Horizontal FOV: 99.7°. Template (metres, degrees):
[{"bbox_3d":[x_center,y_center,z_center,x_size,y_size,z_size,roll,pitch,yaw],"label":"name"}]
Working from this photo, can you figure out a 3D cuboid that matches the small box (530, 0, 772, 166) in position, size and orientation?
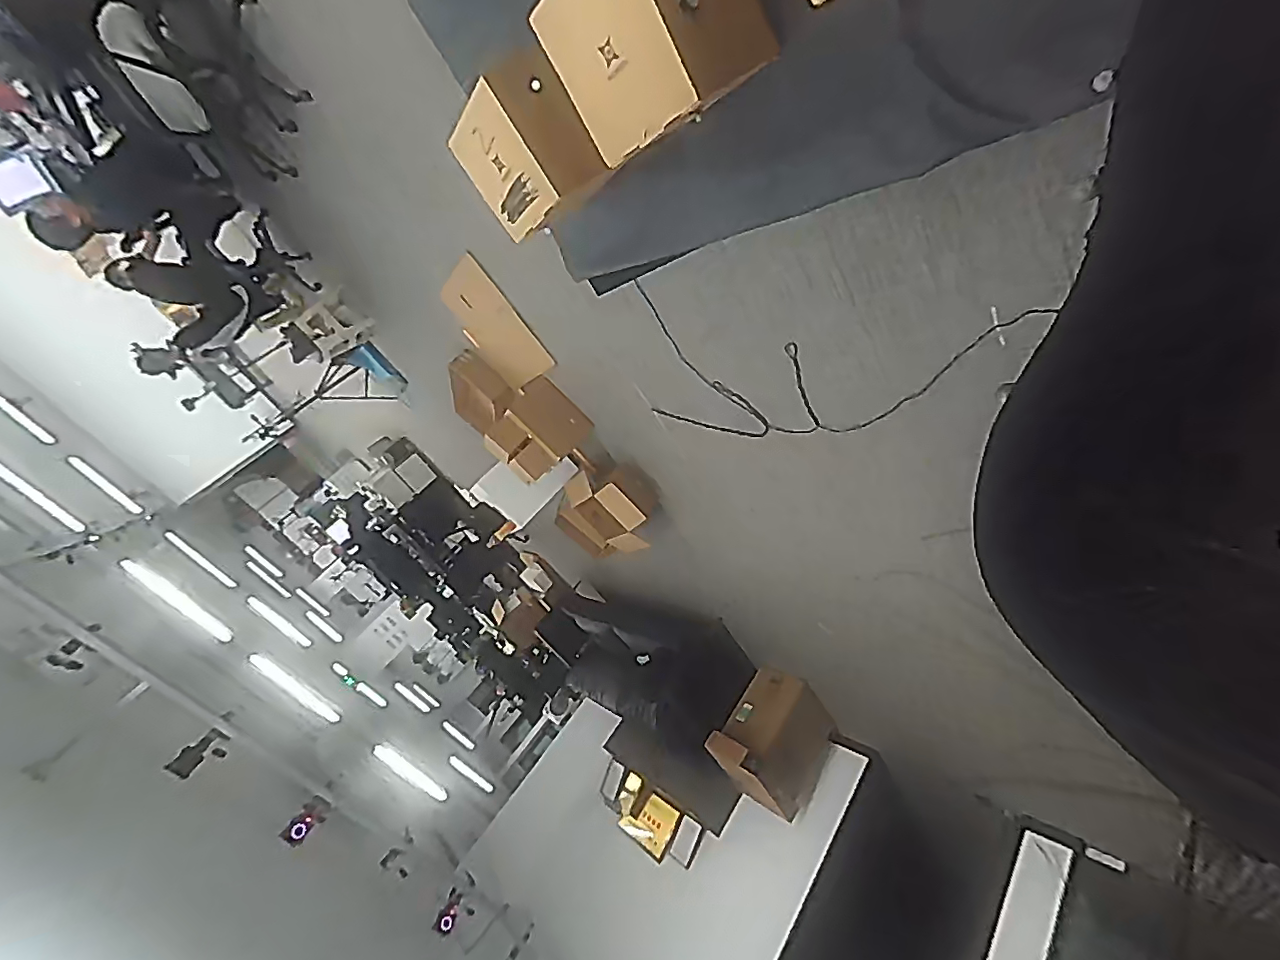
[{"bbox_3d":[0.017,-0.507,0.613,0.168,0.176,0.179,2,134,51],"label":"small box"}]
